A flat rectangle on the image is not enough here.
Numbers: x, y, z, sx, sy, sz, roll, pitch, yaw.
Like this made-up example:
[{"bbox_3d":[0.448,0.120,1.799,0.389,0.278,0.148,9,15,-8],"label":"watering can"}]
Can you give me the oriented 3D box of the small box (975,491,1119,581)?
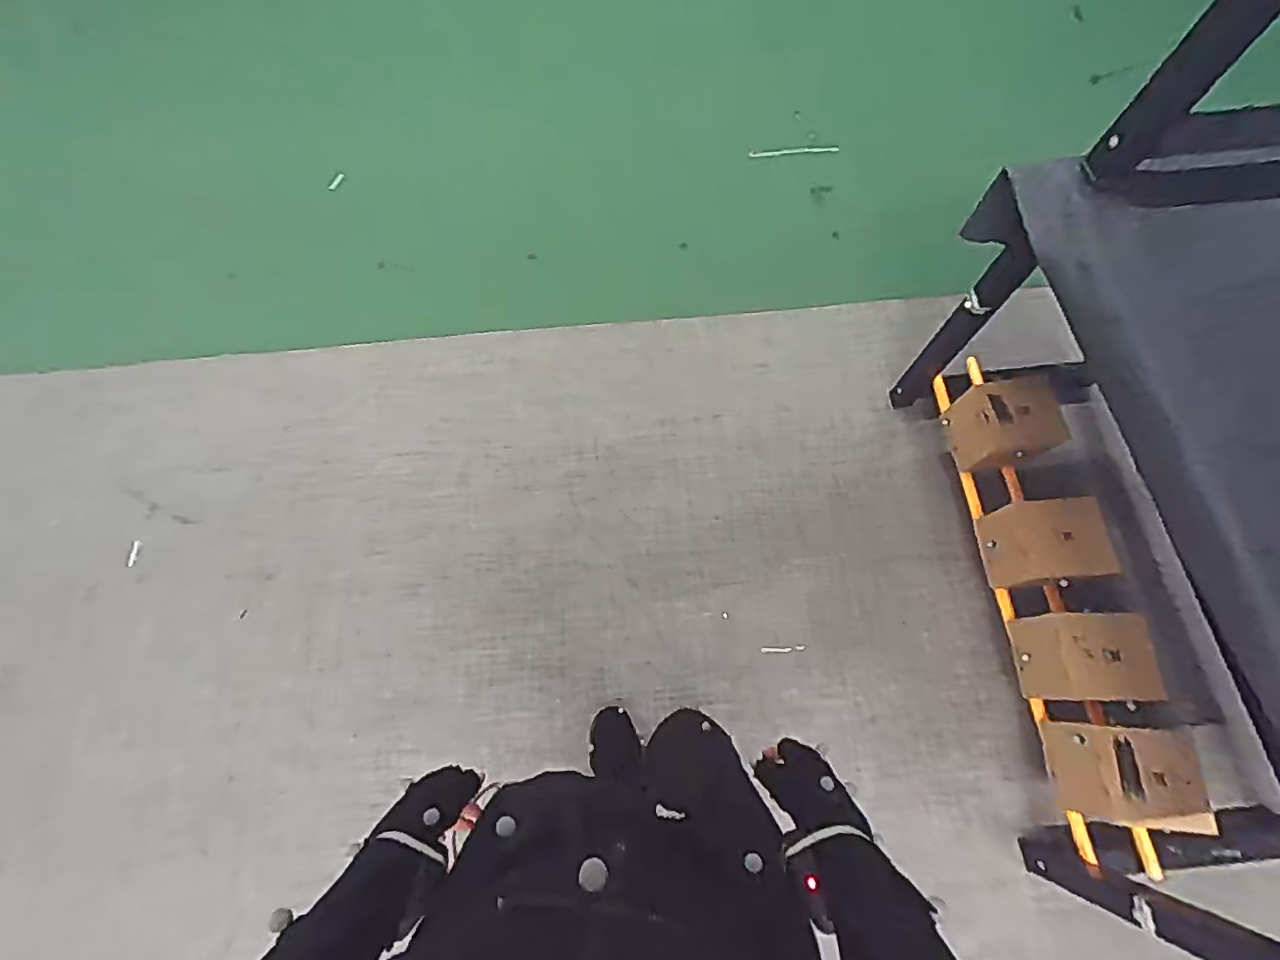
[{"bbox_3d":[0.897,0.129,1.209,0.179,0.176,0.168,-5,71,3],"label":"small box"}]
